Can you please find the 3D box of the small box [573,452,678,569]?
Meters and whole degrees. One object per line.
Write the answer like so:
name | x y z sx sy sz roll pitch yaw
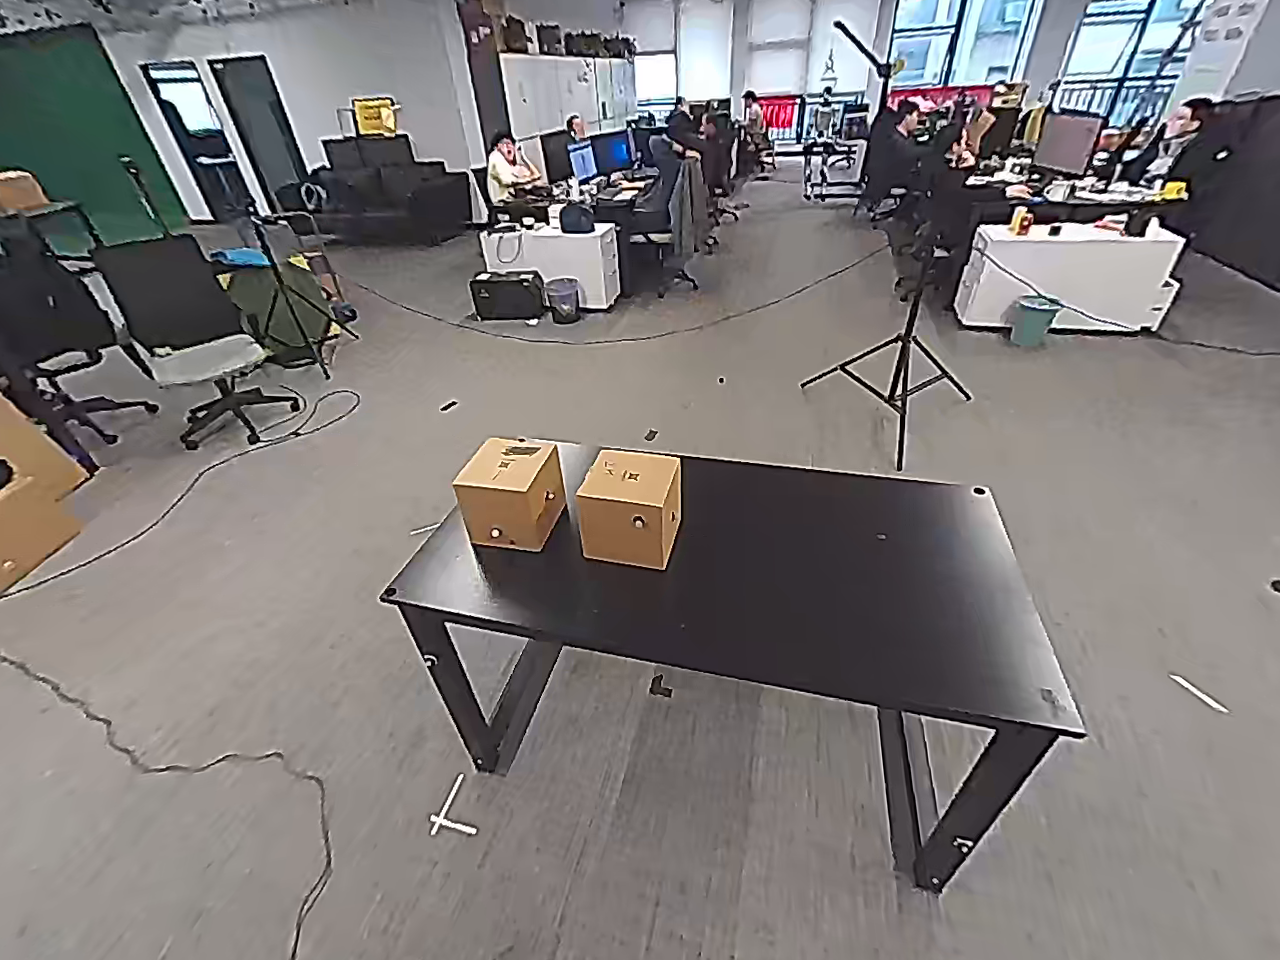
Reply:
small box | -0.022 0.063 1.124 0.179 0.176 0.168 7 37 13

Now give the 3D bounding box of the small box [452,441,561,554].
small box | -0.280 0.035 1.186 0.168 0.176 0.179 5 38 12
